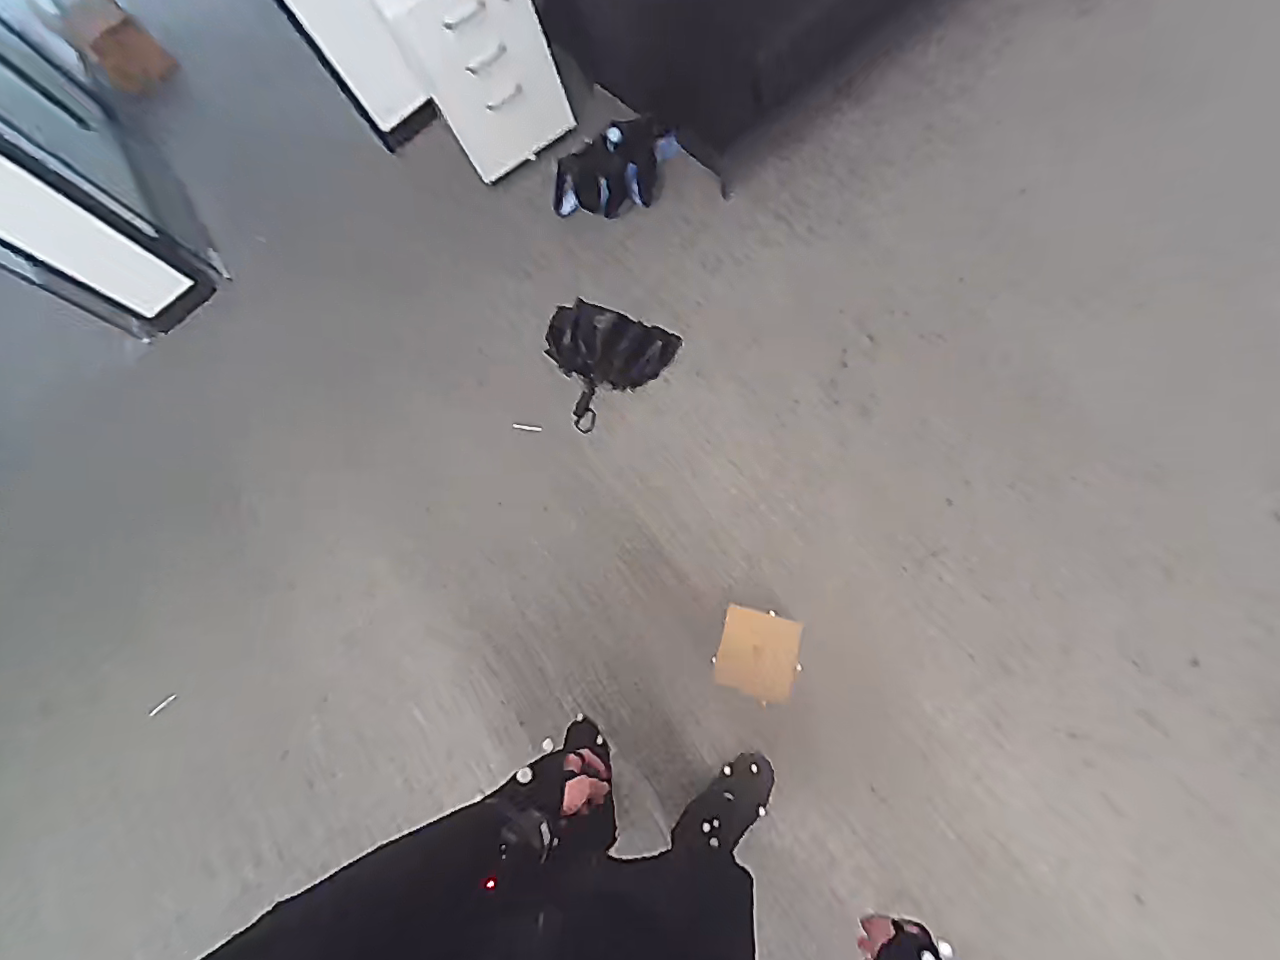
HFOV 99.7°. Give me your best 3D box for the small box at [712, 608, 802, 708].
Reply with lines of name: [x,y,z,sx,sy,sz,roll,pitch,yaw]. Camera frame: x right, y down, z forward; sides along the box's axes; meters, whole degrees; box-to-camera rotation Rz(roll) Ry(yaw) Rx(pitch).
small box: [0.274,0.411,1.253,0.168,0.176,0.179,11,73,17]
